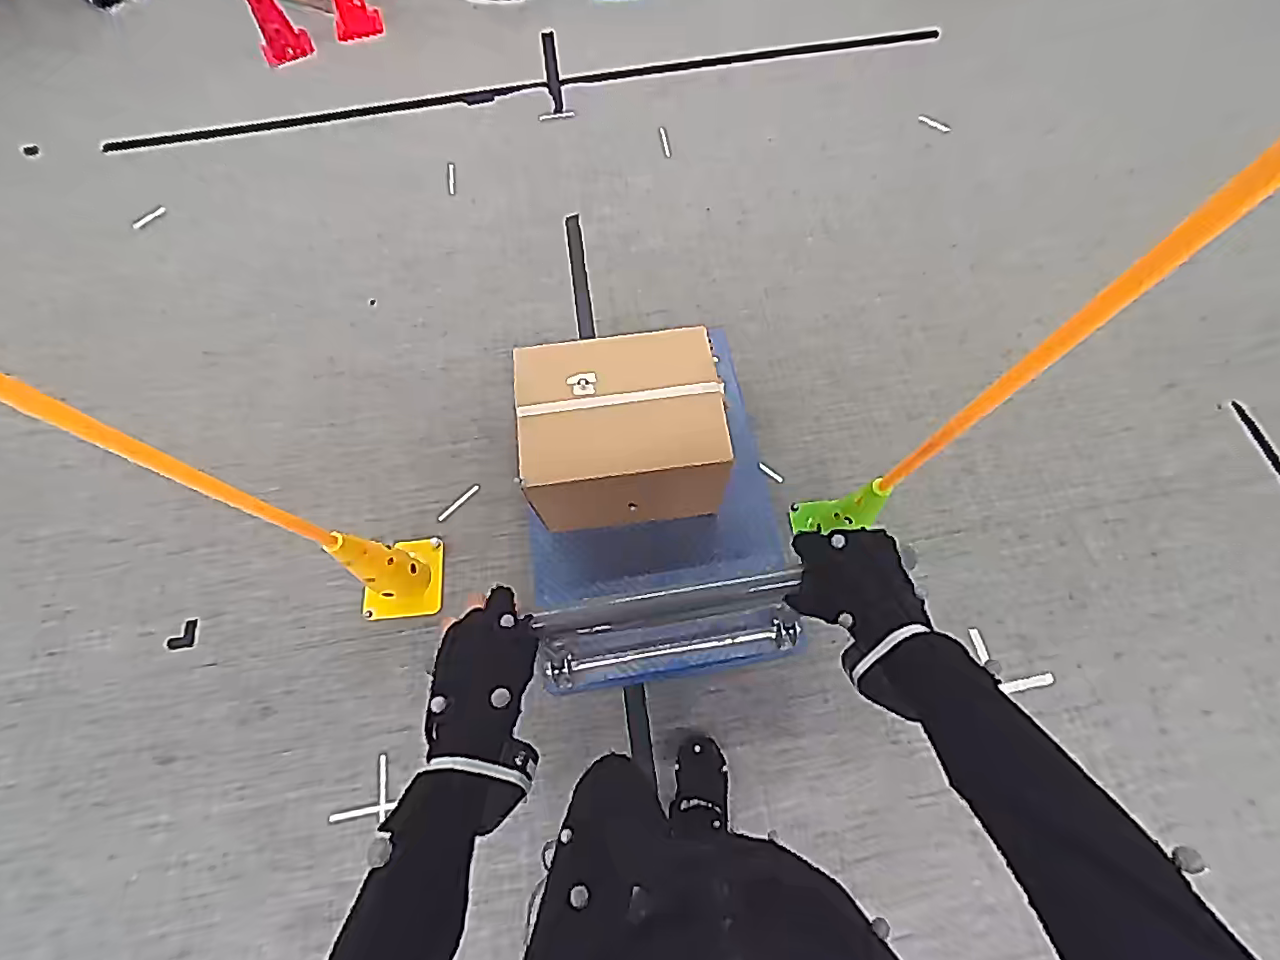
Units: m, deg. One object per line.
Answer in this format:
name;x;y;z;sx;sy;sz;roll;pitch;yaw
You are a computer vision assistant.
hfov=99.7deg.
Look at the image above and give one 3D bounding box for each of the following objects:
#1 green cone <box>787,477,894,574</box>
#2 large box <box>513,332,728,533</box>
green cone;0.504;0.083;1.286;0.202;0.368;0.200;-5;68;-2
large box;-0.041;-0.090;1.217;0.408;0.320;0.320;-8;68;-1
